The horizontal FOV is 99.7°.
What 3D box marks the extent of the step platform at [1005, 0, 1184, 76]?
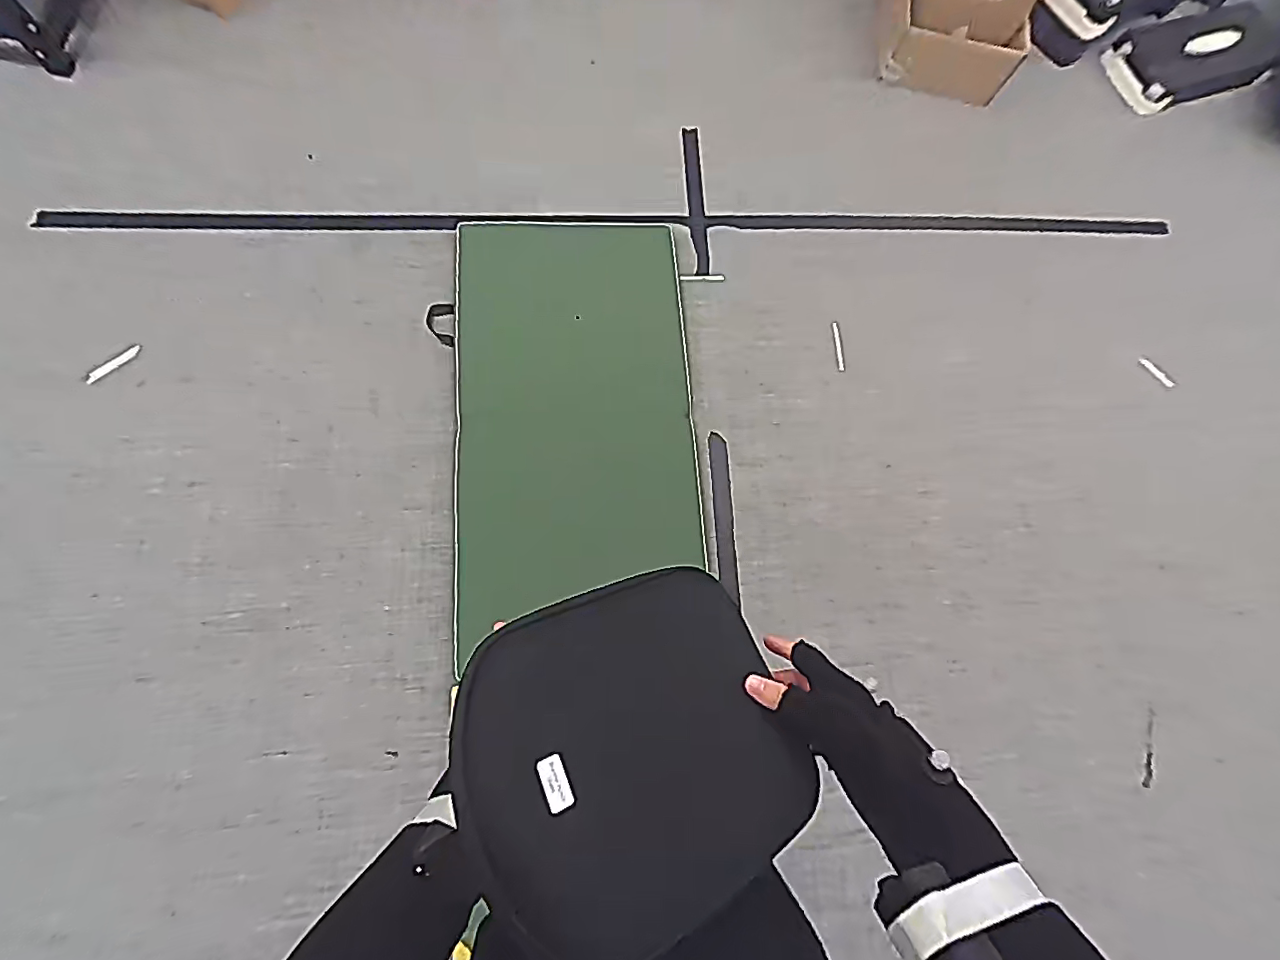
[{"bbox_3d":[1.684,-1.740,1.947,0.684,0.204,0.286,-31,81,-12],"label":"step platform"}]
